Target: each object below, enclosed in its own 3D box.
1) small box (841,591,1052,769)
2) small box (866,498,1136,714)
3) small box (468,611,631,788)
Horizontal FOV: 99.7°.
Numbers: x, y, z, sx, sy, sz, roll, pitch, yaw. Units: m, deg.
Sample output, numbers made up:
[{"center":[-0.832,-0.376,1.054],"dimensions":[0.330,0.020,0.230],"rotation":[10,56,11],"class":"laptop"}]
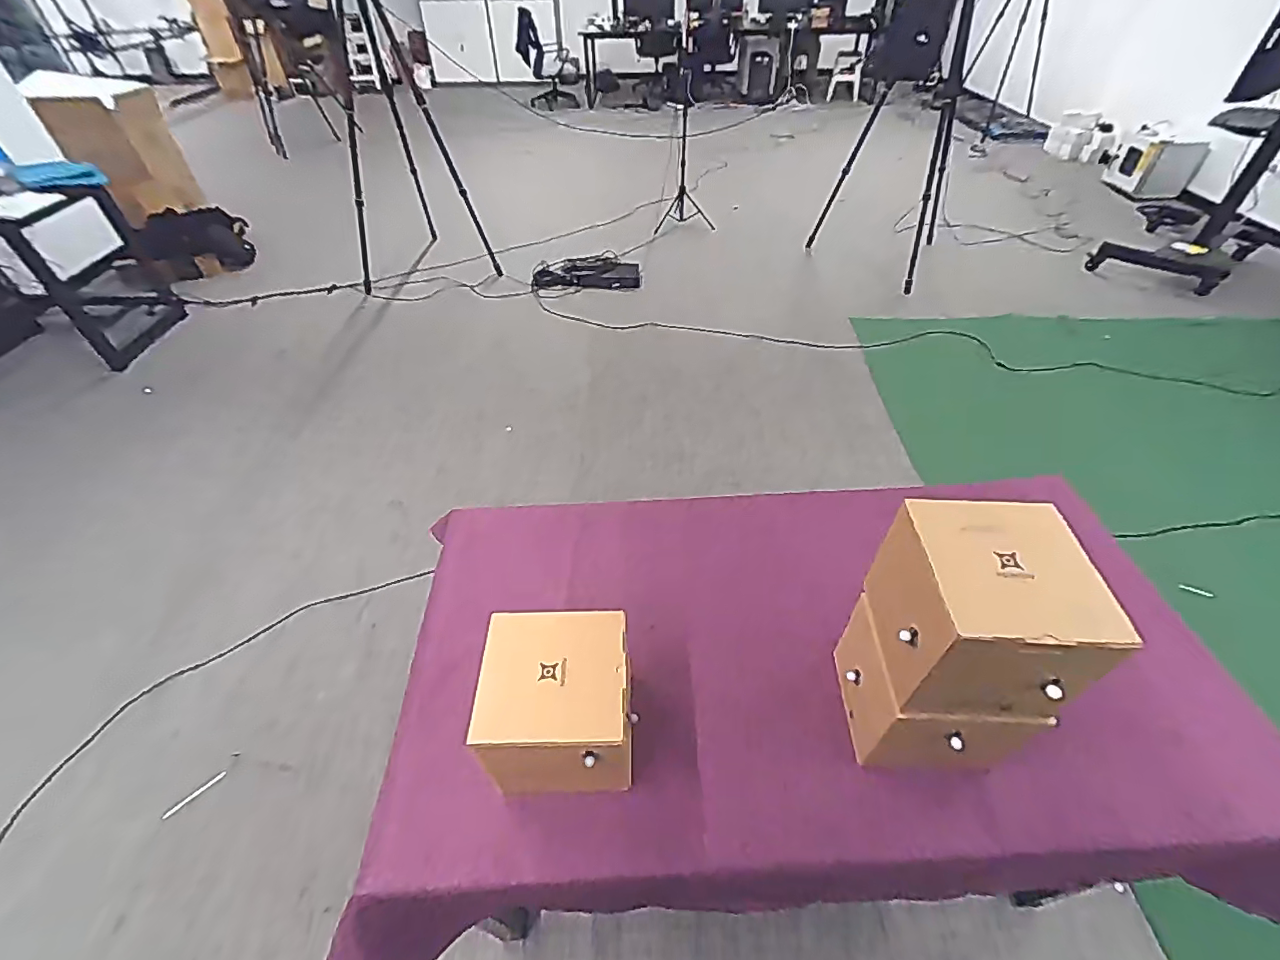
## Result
[{"center":[0.374,0.263,0.708],"dimensions":[0.179,0.176,0.168],"rotation":[1,45,4],"class":"small box"},{"center":[0.370,0.141,0.599],"dimensions":[0.168,0.176,0.179],"rotation":[2,44,4],"class":"small box"},{"center":[-0.103,0.288,0.707],"dimensions":[0.179,0.176,0.168],"rotation":[-1,45,0],"class":"small box"}]
